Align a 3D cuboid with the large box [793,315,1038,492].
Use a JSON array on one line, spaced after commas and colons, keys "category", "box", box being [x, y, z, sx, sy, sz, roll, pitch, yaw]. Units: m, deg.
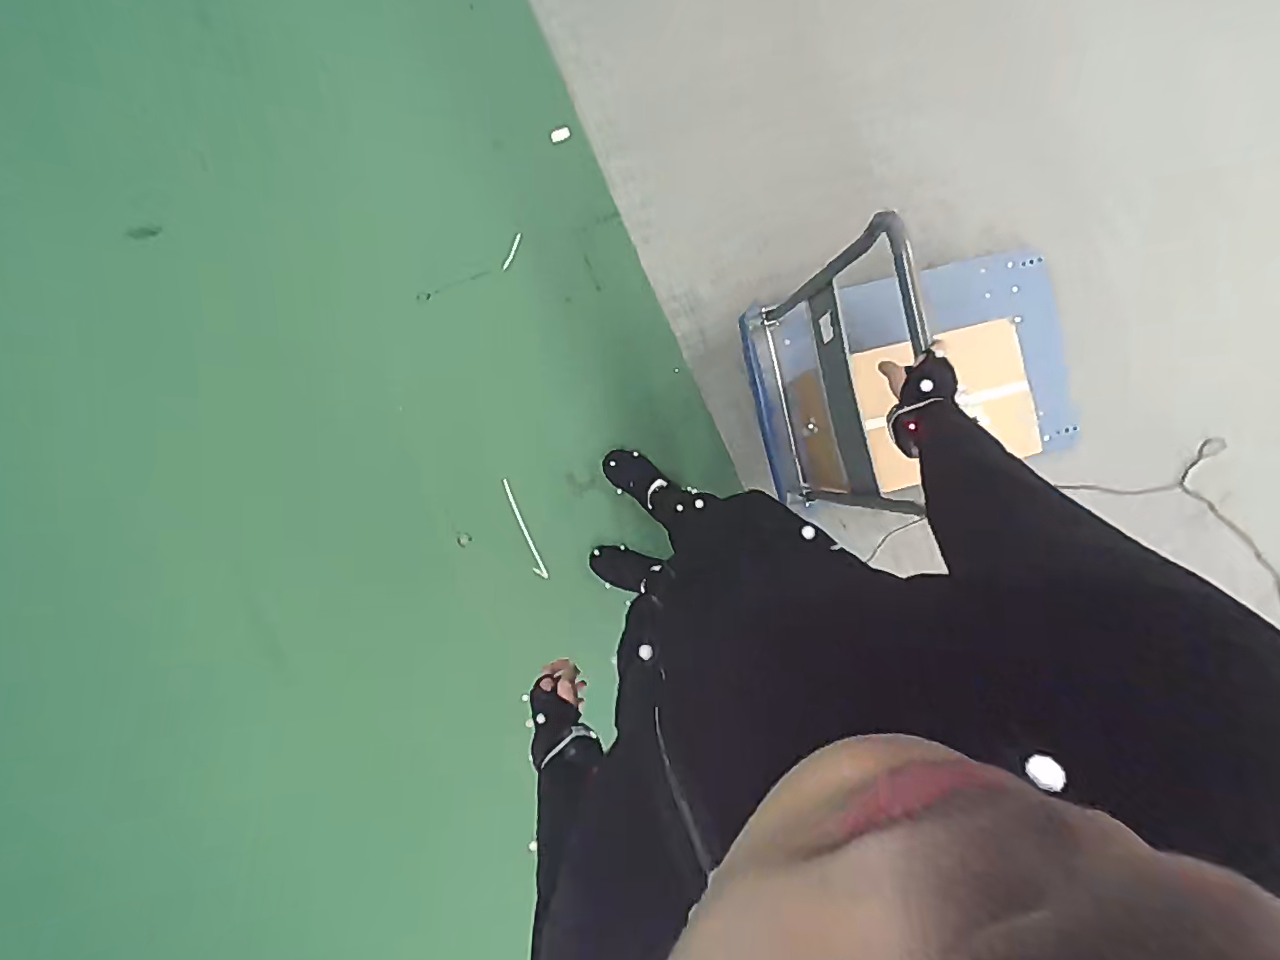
[{"category": "large box", "box": [0.652, -0.170, 1.342, 0.408, 0.320, 0.320, -14, 92, -3]}]
